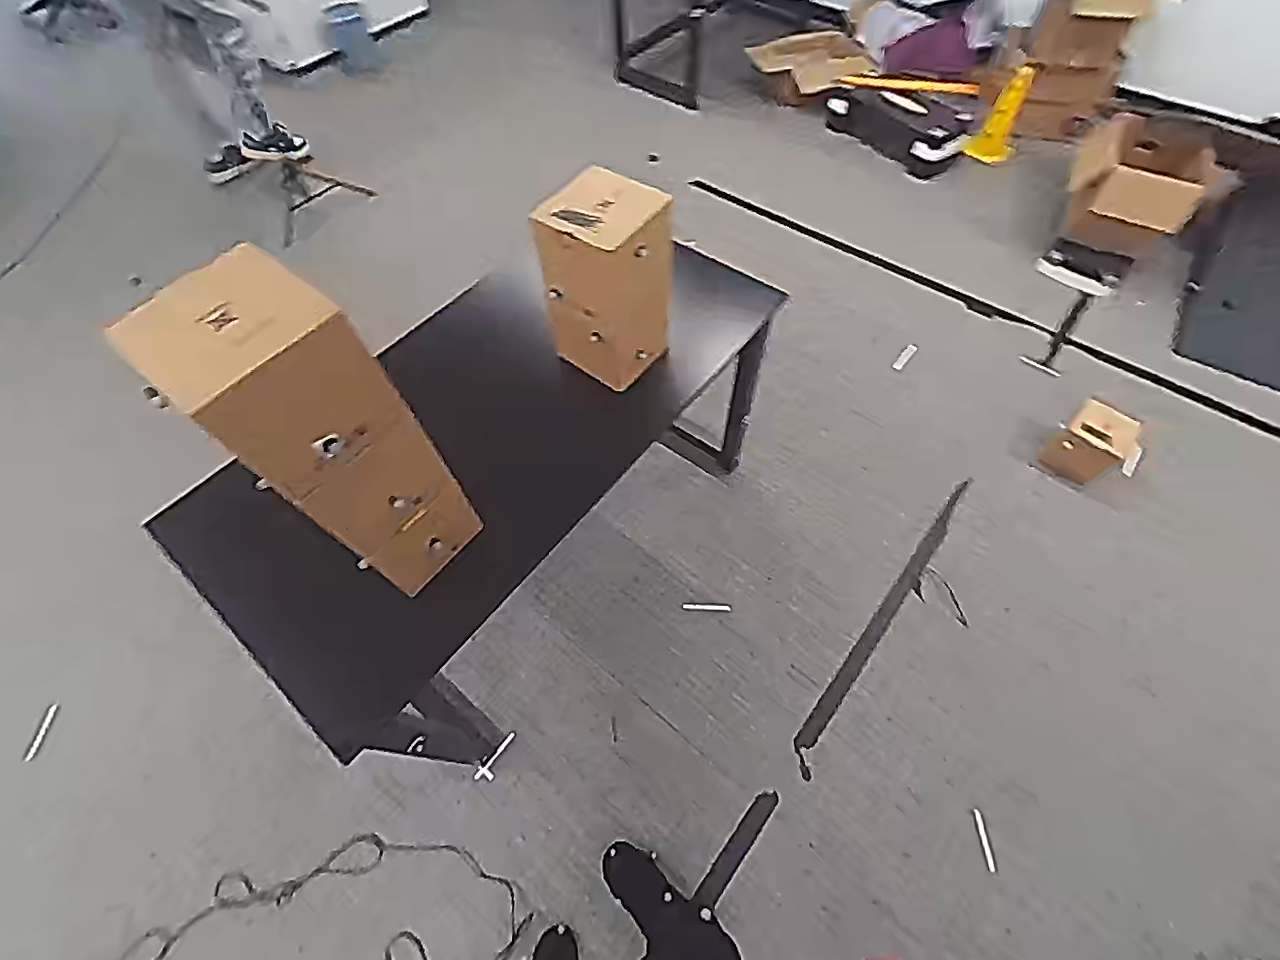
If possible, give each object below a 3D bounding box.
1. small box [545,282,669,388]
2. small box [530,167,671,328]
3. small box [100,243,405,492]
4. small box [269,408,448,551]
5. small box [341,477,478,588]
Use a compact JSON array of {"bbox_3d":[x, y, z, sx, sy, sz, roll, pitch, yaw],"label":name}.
[{"bbox_3d":[-0.060,-0.316,1.078,0.179,0.176,0.168,34,66,19],"label":"small box"},{"bbox_3d":[-0.059,-0.396,0.934,0.168,0.176,0.179,31,64,18],"label":"small box"},{"bbox_3d":[-0.400,-0.115,0.589,0.179,0.176,0.168,33,67,19],"label":"small box"},{"bbox_3d":[-0.396,-0.032,0.729,0.179,0.176,0.168,33,66,19],"label":"small box"},{"bbox_3d":[-0.391,0.053,0.870,0.179,0.176,0.168,33,65,18],"label":"small box"}]
